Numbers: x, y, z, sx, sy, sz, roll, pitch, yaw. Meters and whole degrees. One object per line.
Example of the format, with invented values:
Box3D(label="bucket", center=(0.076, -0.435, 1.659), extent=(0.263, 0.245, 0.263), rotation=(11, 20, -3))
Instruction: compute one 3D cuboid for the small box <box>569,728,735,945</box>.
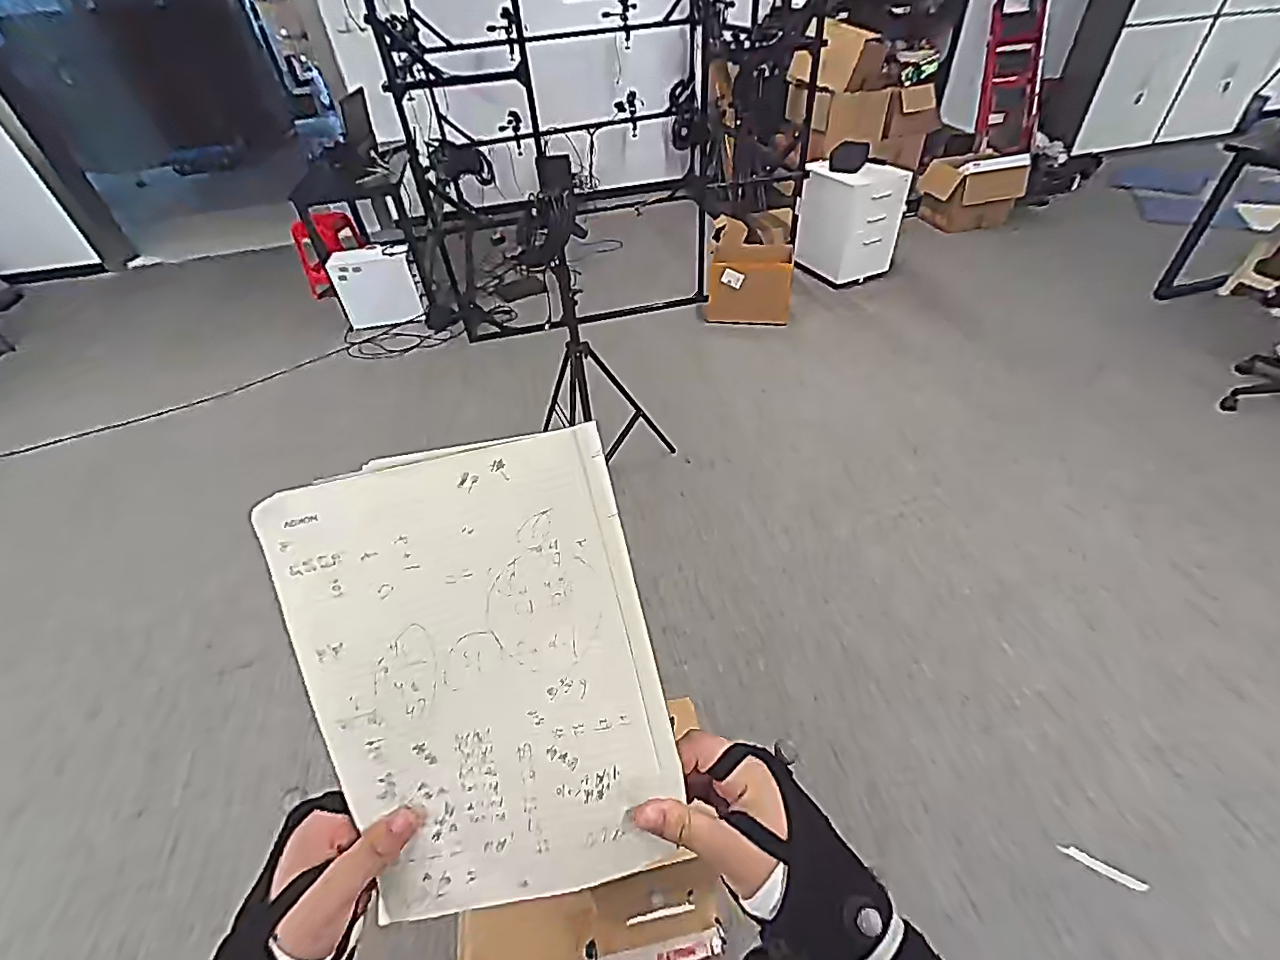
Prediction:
Box3D(label="small box", center=(0.007, 0.447, 0.680), extent=(0.168, 0.176, 0.179), rotation=(-9, 45, -8))

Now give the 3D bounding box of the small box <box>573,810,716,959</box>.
Box3D(label="small box", center=(0.007, 0.566, 0.794), extent=(0.179, 0.176, 0.168), rotation=(-12, 45, -10))
